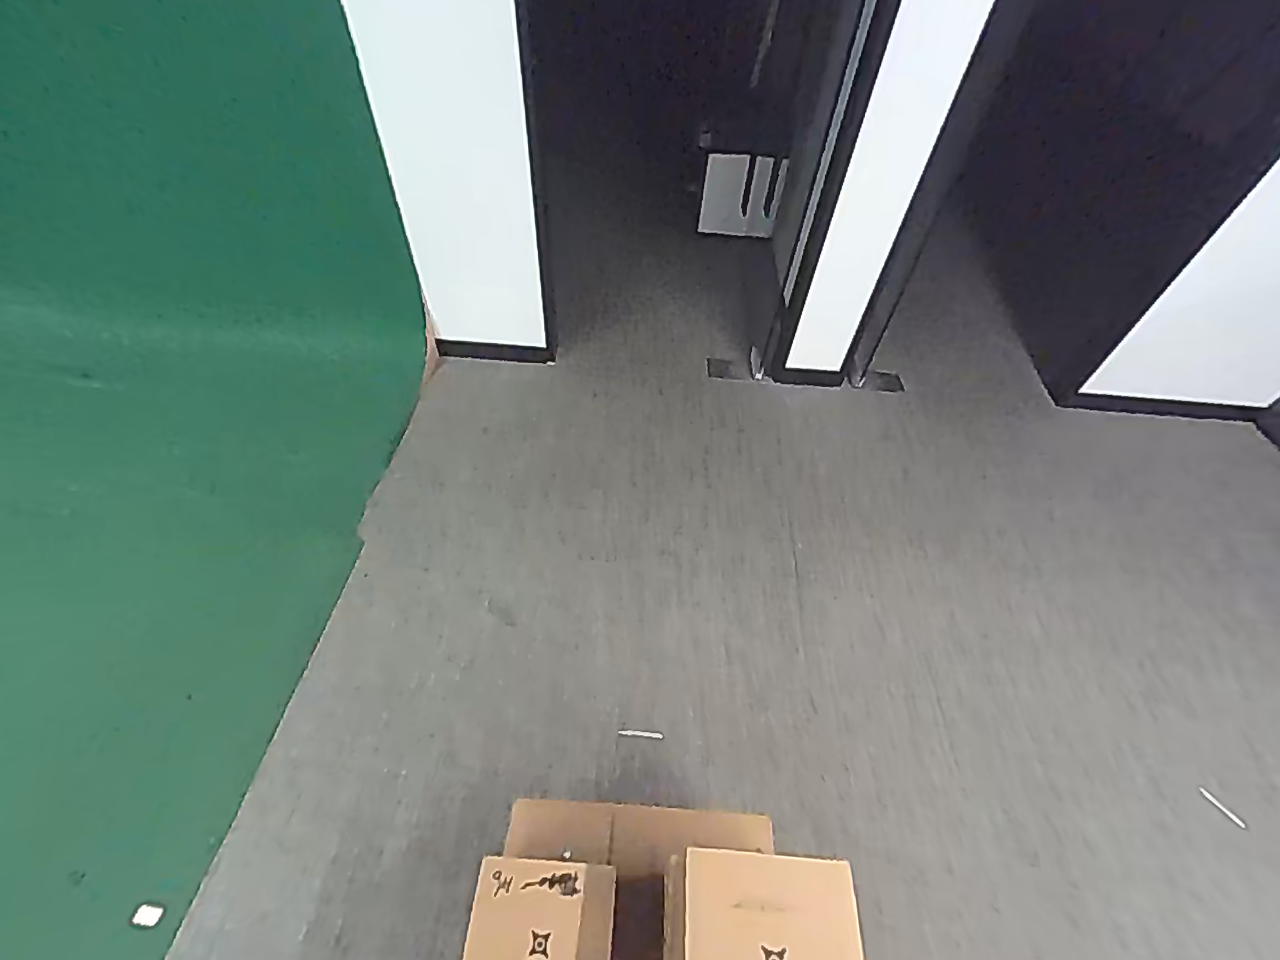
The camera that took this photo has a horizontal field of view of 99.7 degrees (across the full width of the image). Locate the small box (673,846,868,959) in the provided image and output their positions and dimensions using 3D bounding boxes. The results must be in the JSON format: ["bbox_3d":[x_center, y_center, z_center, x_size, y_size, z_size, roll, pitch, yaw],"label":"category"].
[{"bbox_3d":[0.123,0.490,0.545,0.168,0.176,0.179,5,50,1],"label":"small box"}]

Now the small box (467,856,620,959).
[{"bbox_3d":[-0.114,0.581,0.666,0.168,0.176,0.179,5,51,-1],"label":"small box"}]

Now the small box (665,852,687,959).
[{"bbox_3d":[0.118,0.586,0.676,0.168,0.176,0.179,3,50,1],"label":"small box"}]
